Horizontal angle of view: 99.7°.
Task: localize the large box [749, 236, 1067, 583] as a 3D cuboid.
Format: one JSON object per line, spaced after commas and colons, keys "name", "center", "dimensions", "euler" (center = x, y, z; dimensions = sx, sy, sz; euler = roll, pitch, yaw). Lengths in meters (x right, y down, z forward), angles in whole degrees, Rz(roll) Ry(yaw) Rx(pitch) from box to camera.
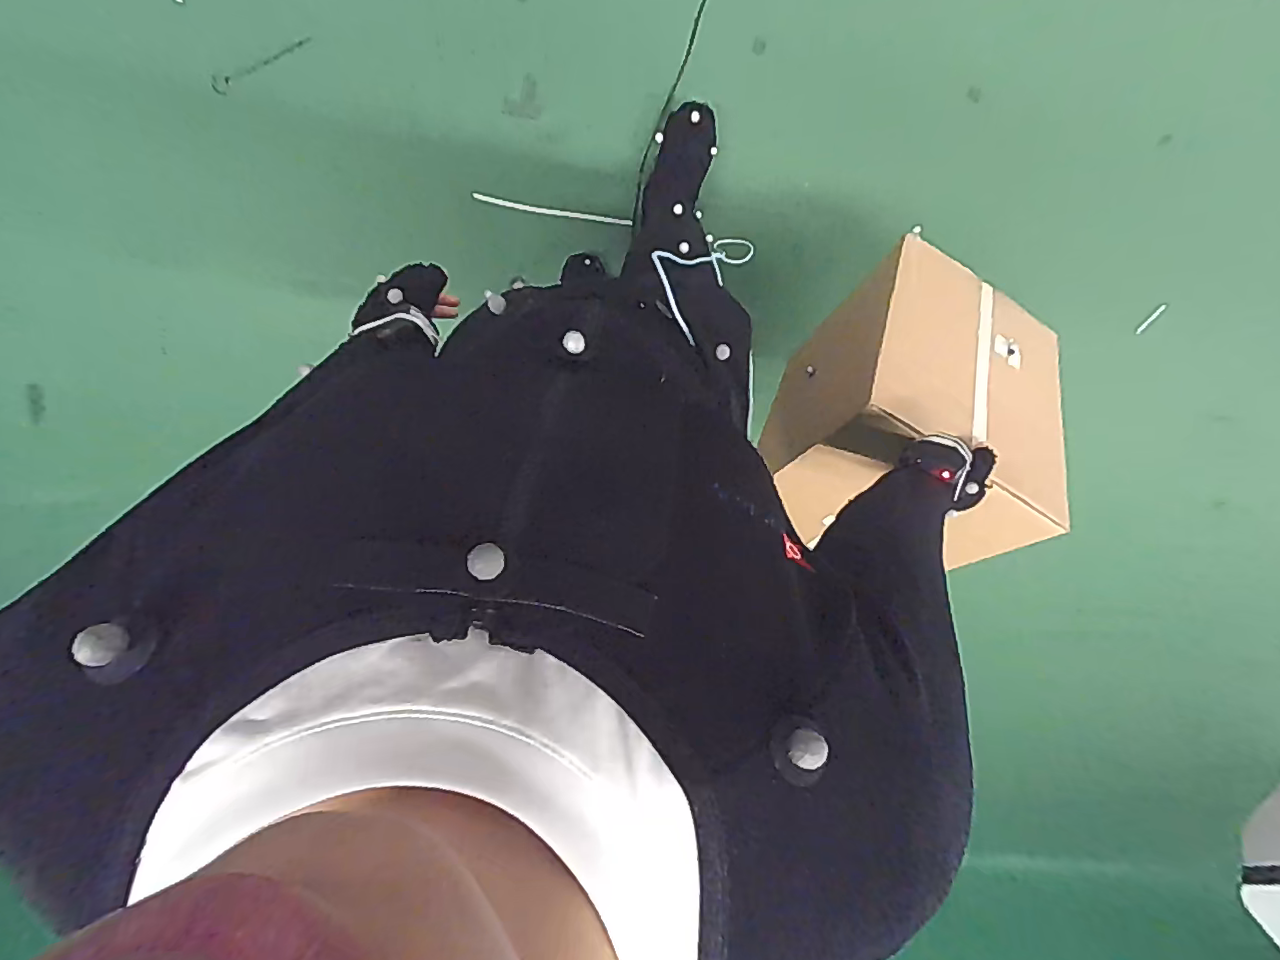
{"name": "large box", "center": [0.427, -0.102, 0.894], "dimensions": [0.320, 0.408, 0.320], "euler": [31, 147, -8]}
